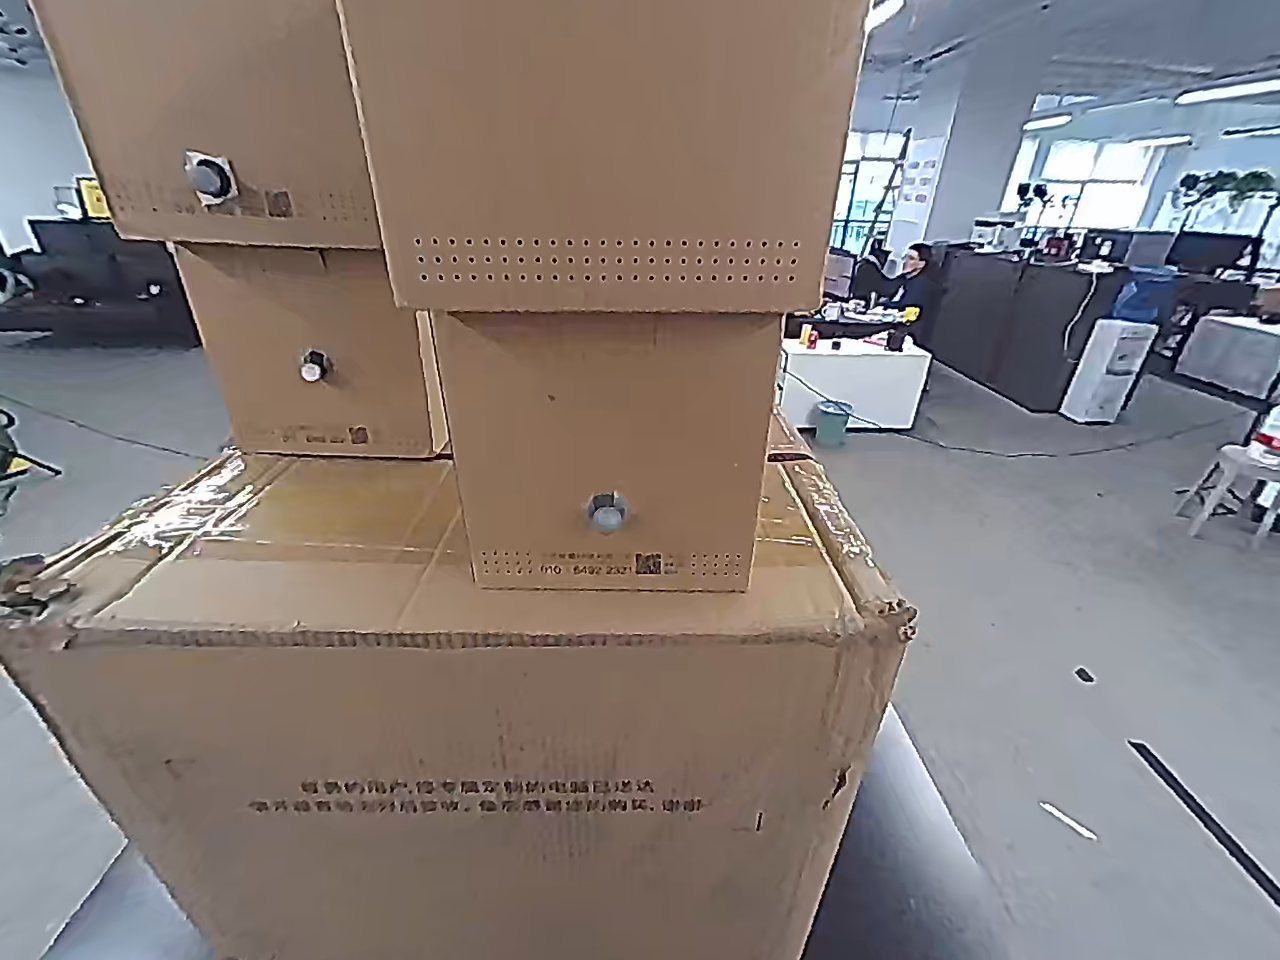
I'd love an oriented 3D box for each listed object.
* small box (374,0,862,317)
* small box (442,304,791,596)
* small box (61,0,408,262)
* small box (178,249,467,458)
[{"bbox_3d":[-0.011,-0.176,0.253,0.179,0.176,0.168,-1,29,-4],"label":"small box"},{"bbox_3d":[-0.012,-0.046,0.358,0.168,0.176,0.179,0,28,0],"label":"small box"},{"bbox_3d":[-0.245,-0.257,0.386,0.168,0.176,0.179,-1,28,-5],"label":"small box"},{"bbox_3d":[-0.249,-0.129,0.492,0.168,0.176,0.179,2,28,-3],"label":"small box"}]
